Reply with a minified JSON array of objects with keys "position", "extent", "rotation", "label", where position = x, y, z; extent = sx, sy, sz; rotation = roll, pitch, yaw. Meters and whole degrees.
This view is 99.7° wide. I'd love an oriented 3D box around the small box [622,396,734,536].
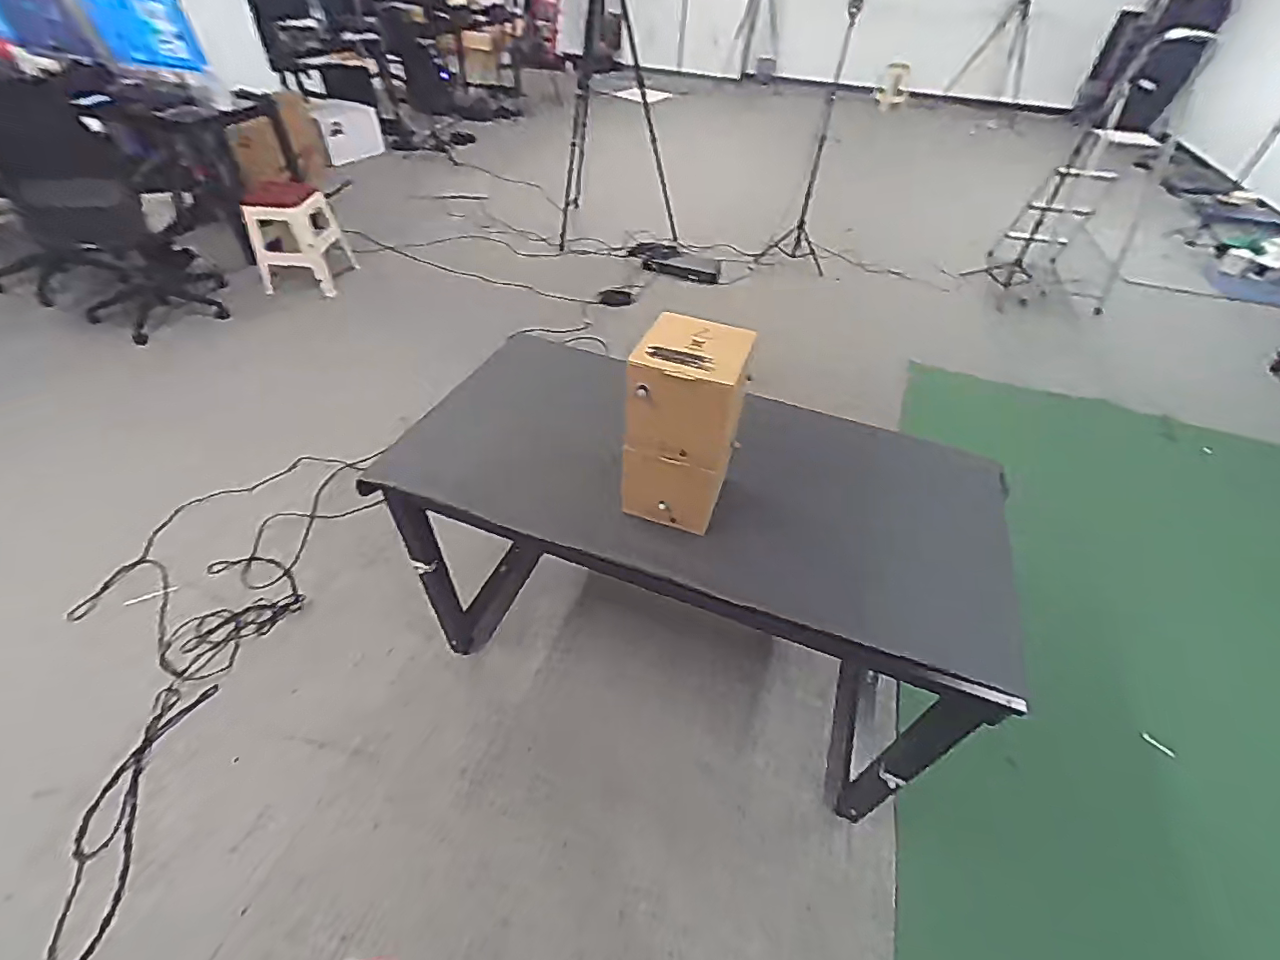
[{"position":[0.067,-0.027,1.017],"extent":[0.168,0.176,0.179],"rotation":[16,46,12],"label":"small box"}]
